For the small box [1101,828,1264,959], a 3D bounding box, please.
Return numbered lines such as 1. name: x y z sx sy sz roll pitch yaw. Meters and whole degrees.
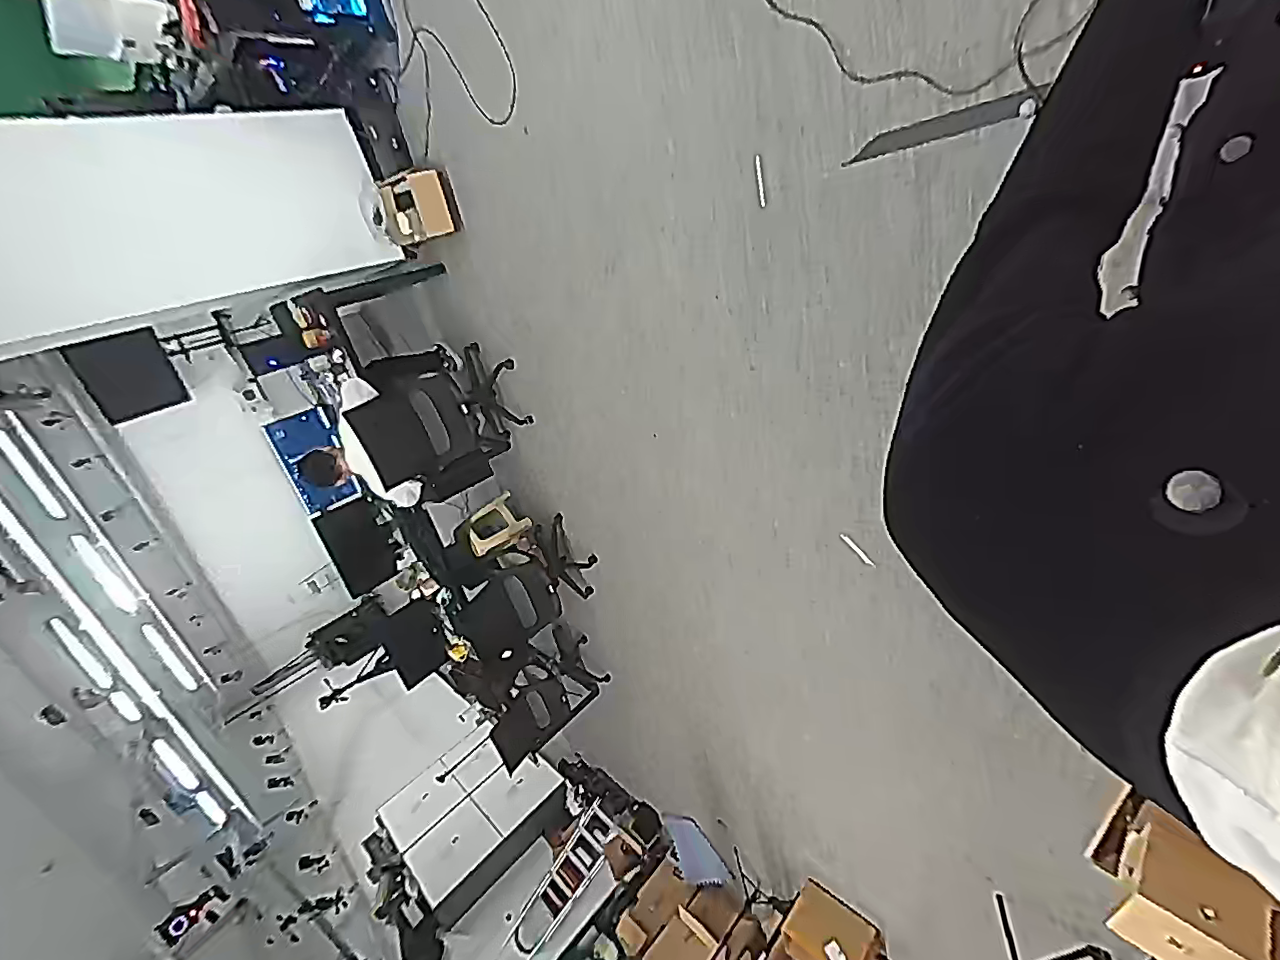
1. small box: 1.046 0.821 1.049 0.179 0.176 0.168 23 134 38
